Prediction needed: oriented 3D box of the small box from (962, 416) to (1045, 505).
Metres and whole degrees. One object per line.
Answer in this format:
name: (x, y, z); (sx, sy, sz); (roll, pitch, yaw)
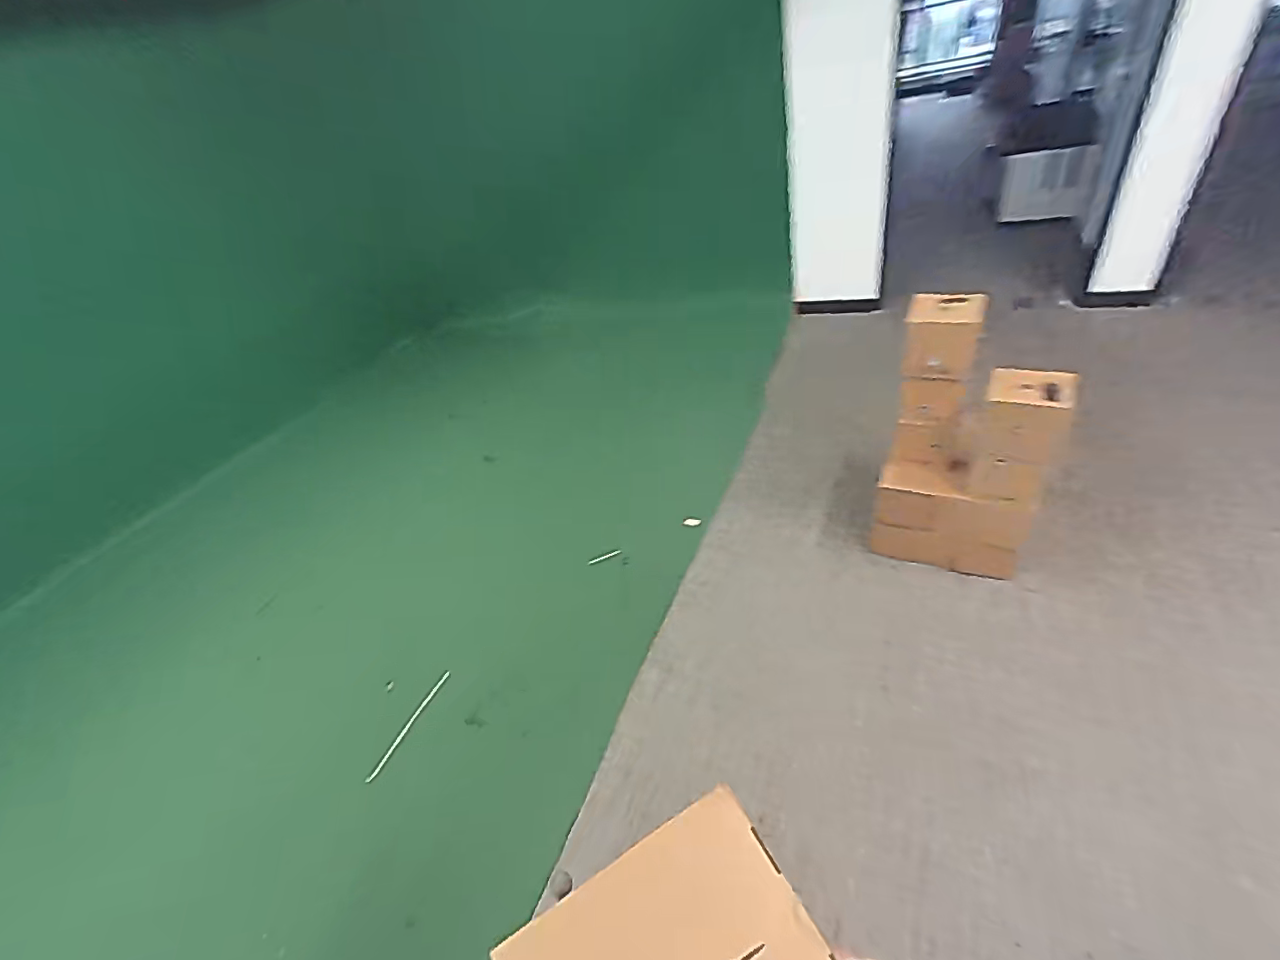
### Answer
small box: (1.023, -0.058, 1.528); (0.168, 0.176, 0.179); (11, 44, 29)

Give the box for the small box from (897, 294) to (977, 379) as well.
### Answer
small box: (0.817, -0.400, 1.494); (0.168, 0.176, 0.179); (10, 45, 29)

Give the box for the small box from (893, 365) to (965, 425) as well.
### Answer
small box: (0.856, -0.284, 1.602); (0.168, 0.176, 0.179); (10, 45, 28)

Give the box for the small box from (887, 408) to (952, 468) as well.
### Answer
small box: (0.883, -0.156, 1.703); (0.168, 0.176, 0.179); (10, 43, 28)
